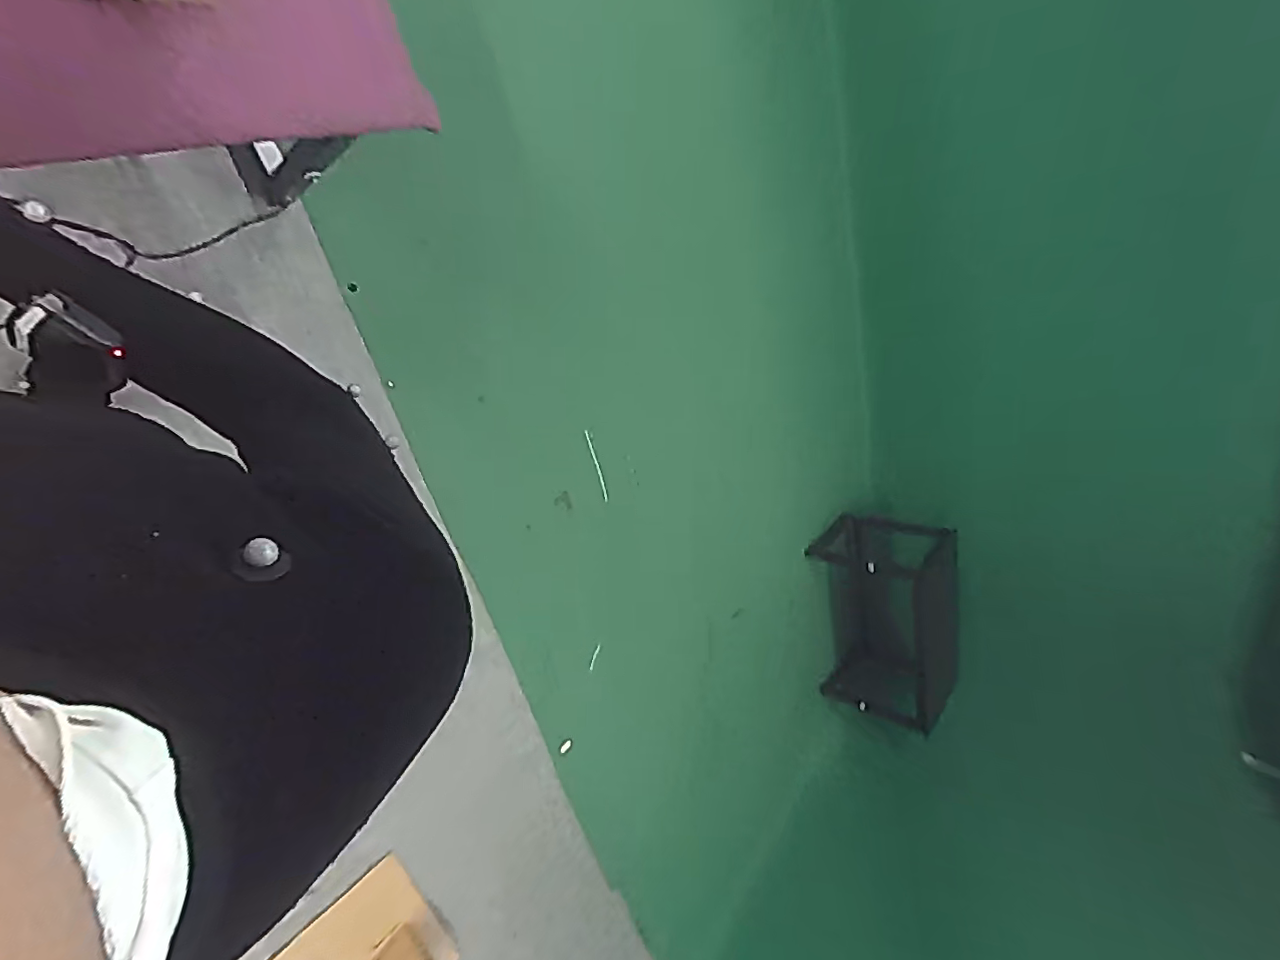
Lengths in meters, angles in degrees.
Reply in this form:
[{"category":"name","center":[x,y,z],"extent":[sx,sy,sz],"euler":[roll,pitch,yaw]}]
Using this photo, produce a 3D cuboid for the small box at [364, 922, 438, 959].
[{"category":"small box","center":[-0.763,1.590,1.746],"extent":[0.168,0.176,0.179],"euler":[-41,124,-32]}]
